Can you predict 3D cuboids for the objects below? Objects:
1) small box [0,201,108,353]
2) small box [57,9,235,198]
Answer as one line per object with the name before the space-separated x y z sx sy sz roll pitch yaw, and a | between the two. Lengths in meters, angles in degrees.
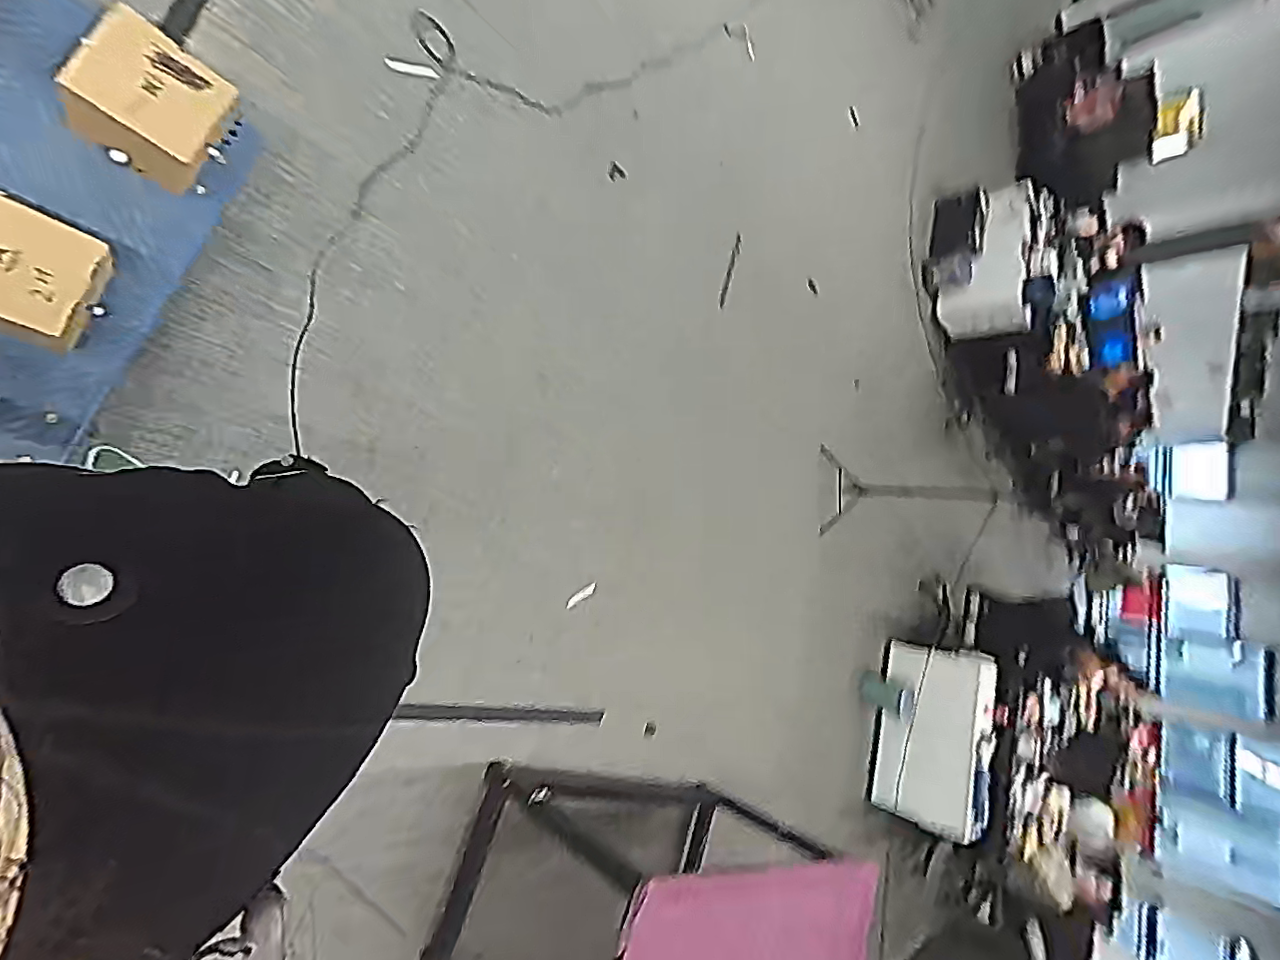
small box | -0.964 -0.310 0.826 0.179 0.176 0.168 25 74 -41
small box | -0.845 -0.634 0.934 0.168 0.176 0.179 31 71 -39
